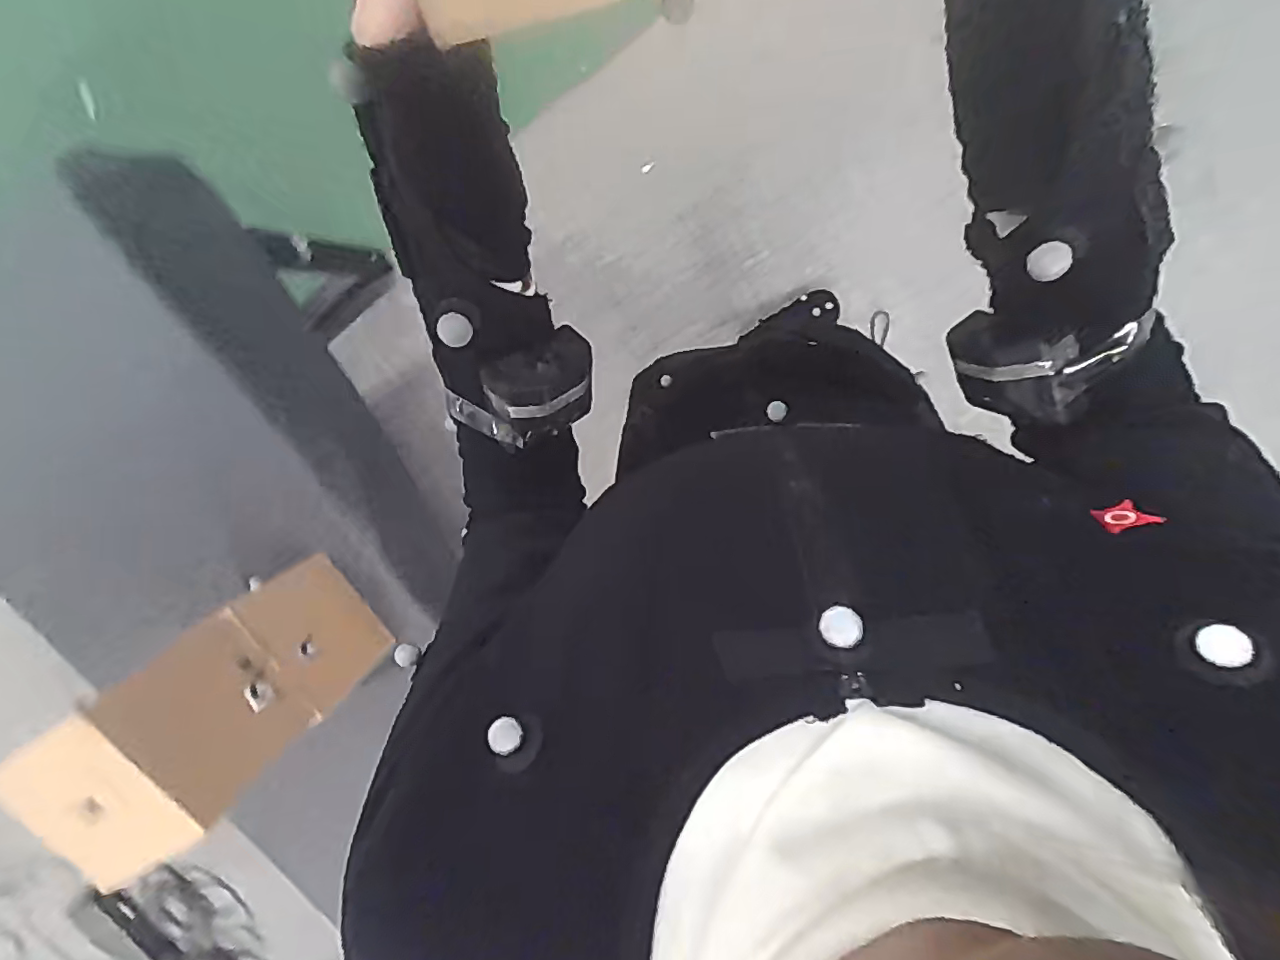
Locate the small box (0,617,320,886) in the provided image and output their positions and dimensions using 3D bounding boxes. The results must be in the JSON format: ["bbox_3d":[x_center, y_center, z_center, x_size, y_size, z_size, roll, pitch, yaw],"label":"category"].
[{"bbox_3d":[-0.510,0.290,0.603,0.179,0.176,0.168,-34,102,14],"label":"small box"}]

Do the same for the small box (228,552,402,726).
[{"bbox_3d":[-0.483,0.234,0.770,0.168,0.176,0.179,-32,100,15],"label":"small box"}]
